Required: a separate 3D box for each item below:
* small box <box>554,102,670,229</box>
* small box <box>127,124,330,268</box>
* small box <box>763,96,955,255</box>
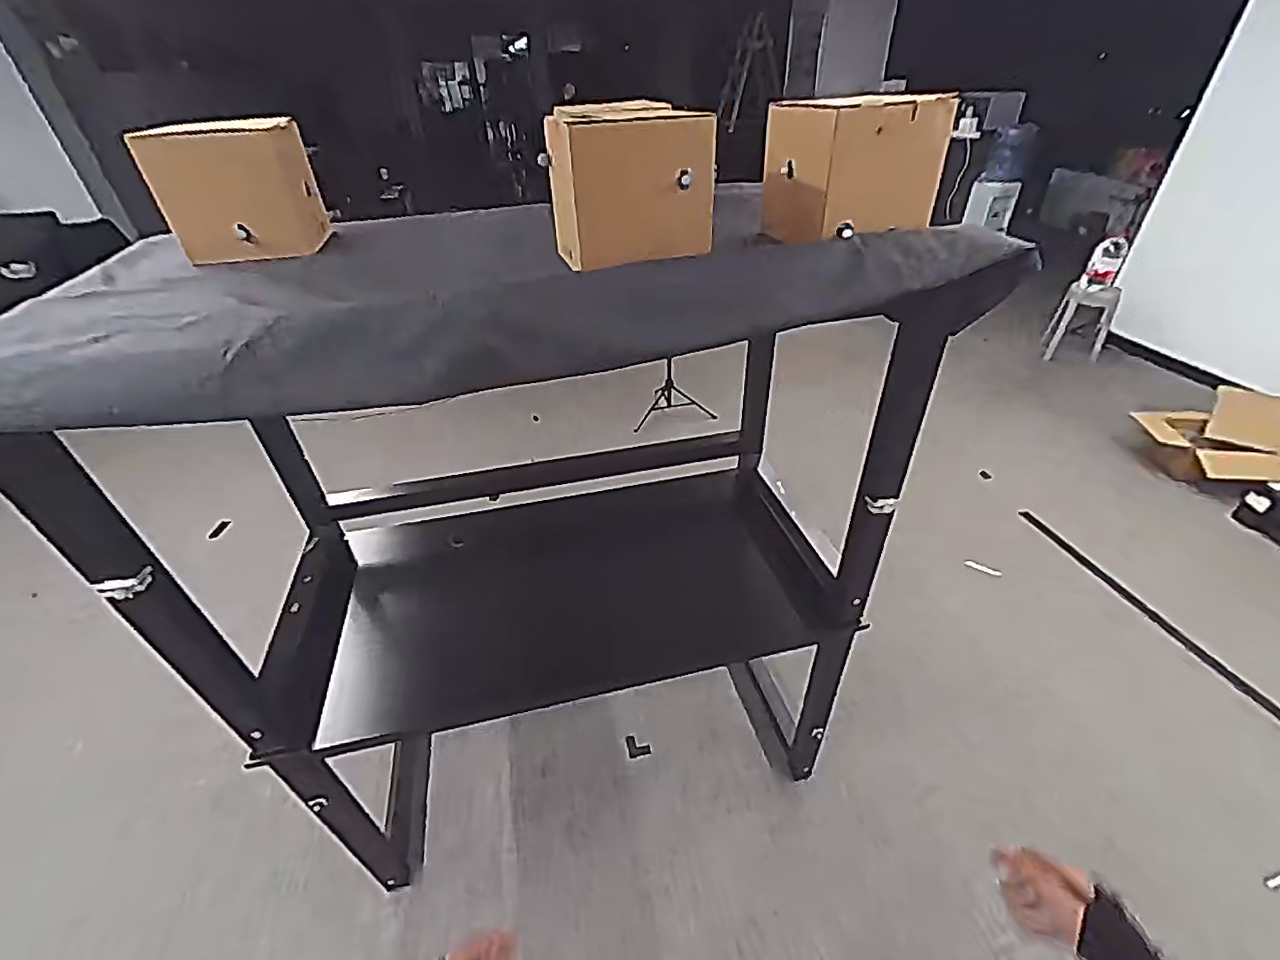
[{"bbox_3d":[-0.047,-0.542,0.934,0.168,0.176,0.179,-11,38,-10],"label":"small box"},{"bbox_3d":[-0.605,-0.437,0.828,0.179,0.176,0.168,-10,38,-12],"label":"small box"},{"bbox_3d":[0.283,-0.416,0.742,0.168,0.176,0.179,-12,37,-11],"label":"small box"}]
